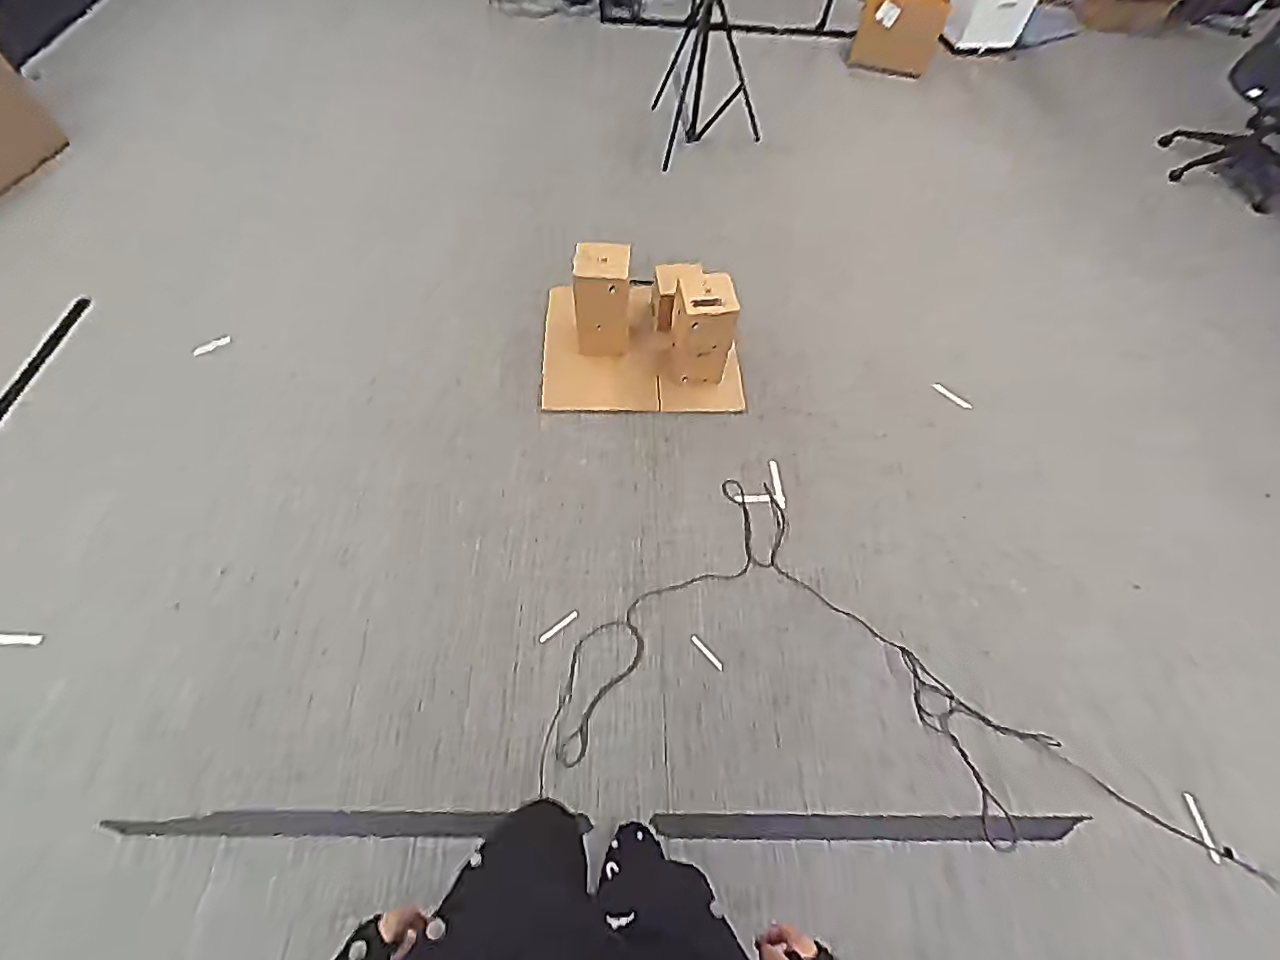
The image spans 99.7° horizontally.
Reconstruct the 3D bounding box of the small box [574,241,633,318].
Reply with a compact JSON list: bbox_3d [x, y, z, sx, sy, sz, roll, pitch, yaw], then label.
[{"bbox_3d":[-0.117,-0.649,1.763,0.179,0.176,0.168,3,59,0],"label":"small box"}]

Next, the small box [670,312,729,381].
[{"bbox_3d":[0.200,-0.453,1.858,0.168,0.176,0.179,-4,59,-6],"label":"small box"}]

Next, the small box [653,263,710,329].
[{"bbox_3d":[0.149,-0.673,1.989,0.179,0.176,0.168,-4,58,-5],"label":"small box"}]

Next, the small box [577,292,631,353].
[{"bbox_3d":[-0.123,-0.563,1.904,0.179,0.176,0.168,2,59,-1],"label":"small box"}]
